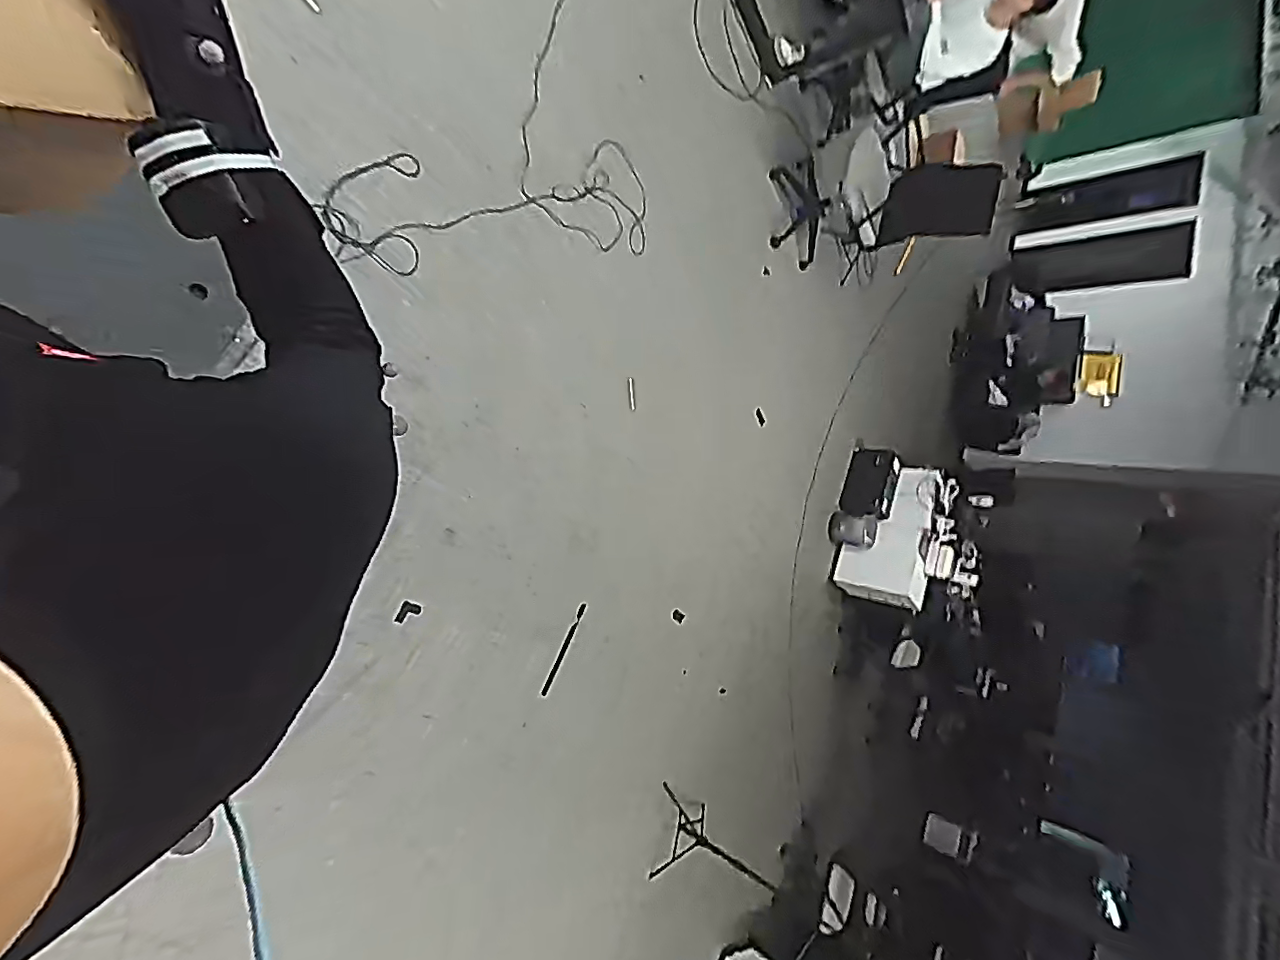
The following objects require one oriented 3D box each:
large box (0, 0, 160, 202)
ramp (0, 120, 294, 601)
[{"bbox_3d":[-0.587,-0.349,0.275,0.408,0.320,0.320,-28,118,-48],"label":"large box"},{"bbox_3d":[-1.158,-0.315,1.063,0.509,0.206,0.991,35,69,-43],"label":"ramp"}]
